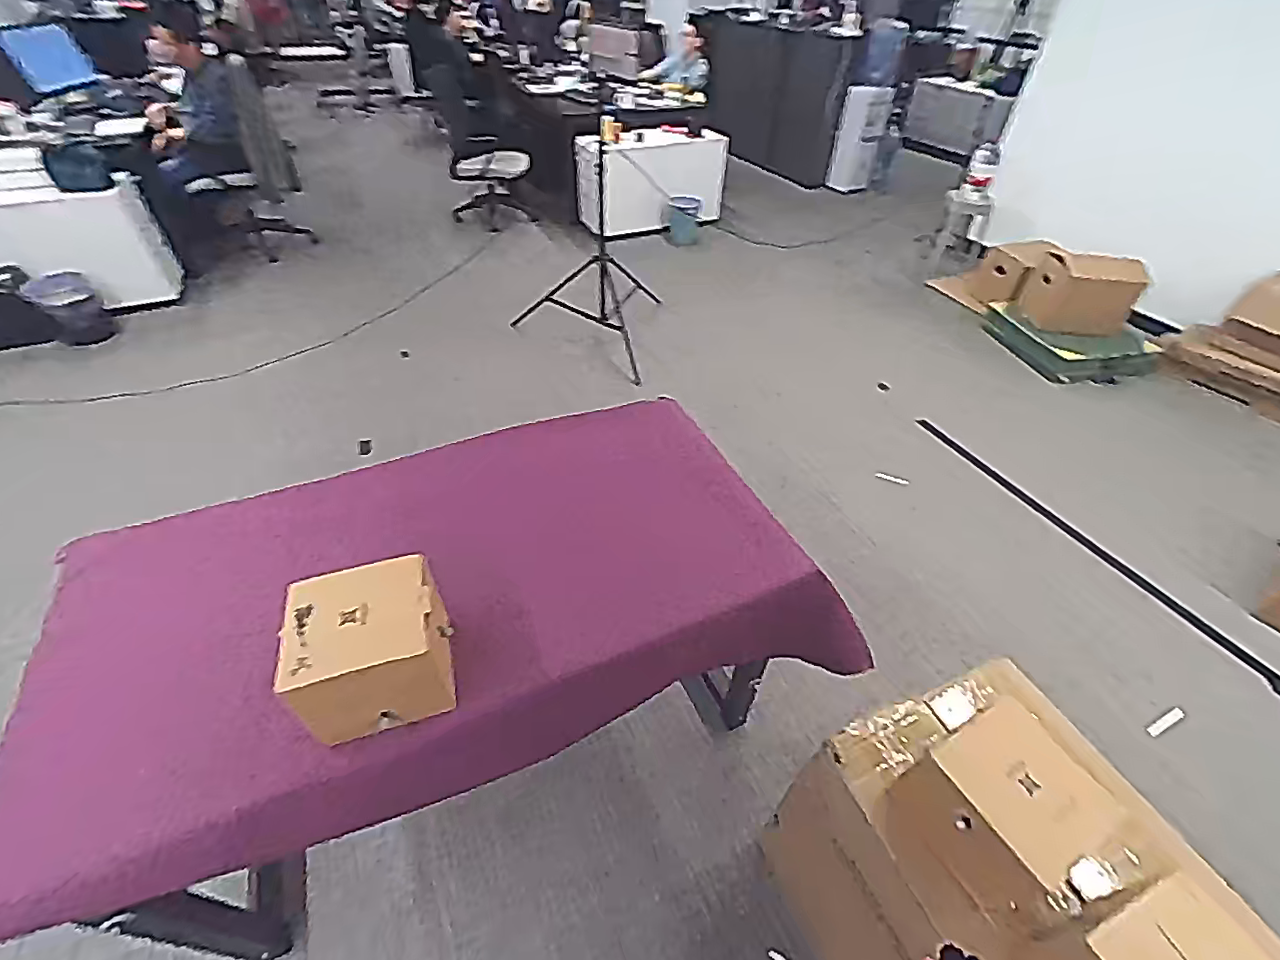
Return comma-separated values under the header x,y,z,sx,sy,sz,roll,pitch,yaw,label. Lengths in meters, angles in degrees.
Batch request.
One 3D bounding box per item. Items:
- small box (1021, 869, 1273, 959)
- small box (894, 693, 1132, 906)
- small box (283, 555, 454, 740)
x,y,z,sx,sy,sz,roll,pitch,yaw,label
0.580,0.577,0.592,0.168,0.176,0.179,-16,44,-17,small box
0.488,0.436,0.740,0.168,0.176,0.179,-21,49,-20,small box
-0.368,0.237,0.769,0.179,0.176,0.168,-11,44,-15,small box
